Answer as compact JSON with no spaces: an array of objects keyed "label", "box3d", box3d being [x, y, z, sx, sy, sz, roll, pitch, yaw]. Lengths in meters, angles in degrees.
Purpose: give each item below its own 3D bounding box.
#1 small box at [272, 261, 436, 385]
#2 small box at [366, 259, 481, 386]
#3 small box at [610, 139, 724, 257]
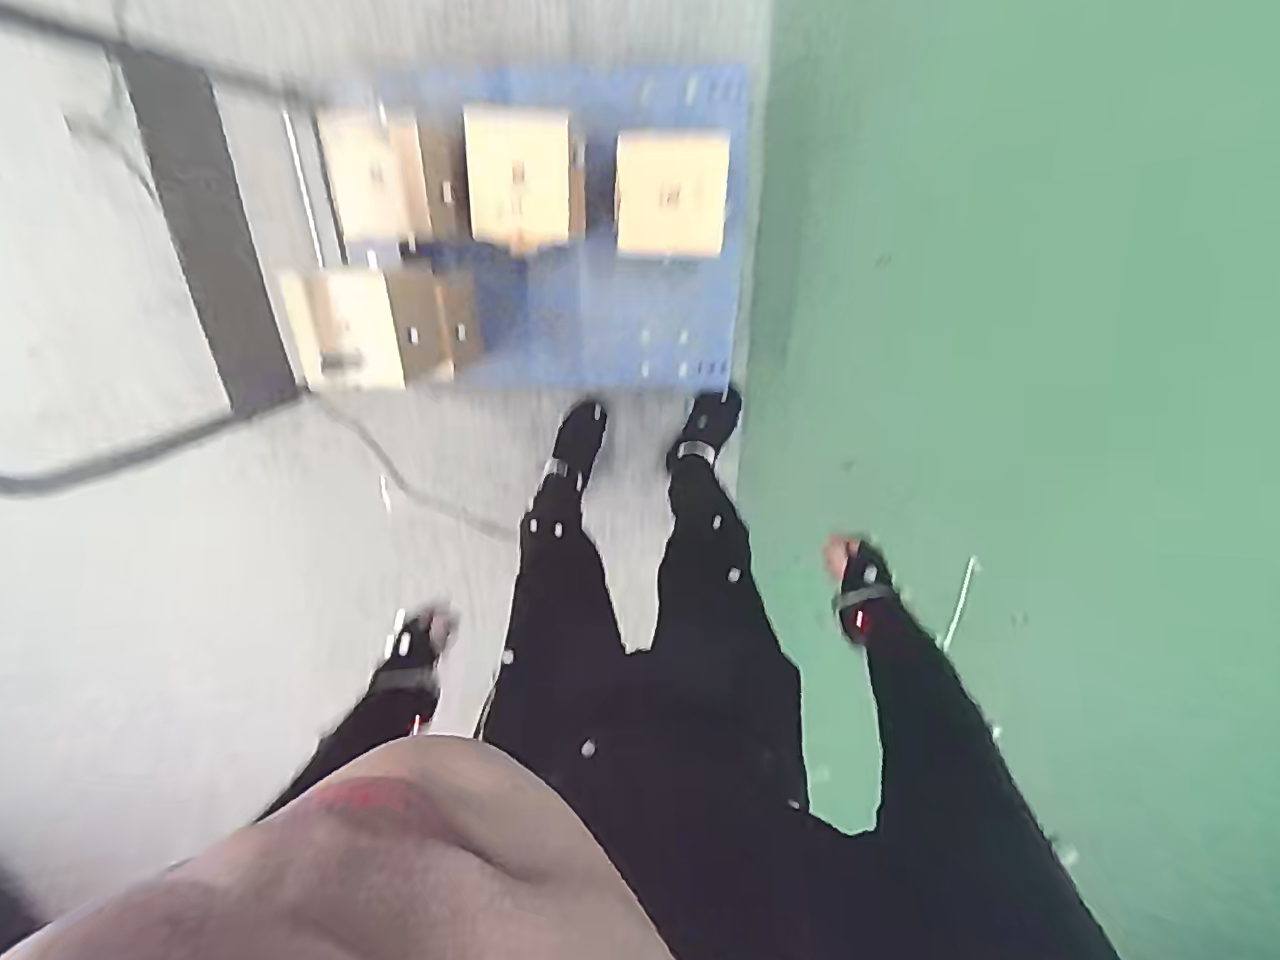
[{"label":"small box","box3d":[-0.457,-0.265,0.897,0.168,0.176,0.179,2,114,3]},{"label":"small box","box3d":[-0.444,-0.315,1.063,0.179,0.176,0.168,30,115,-8]},{"label":"small box","box3d":[0.047,-0.483,0.941,0.179,0.176,0.168,4,115,3]}]
